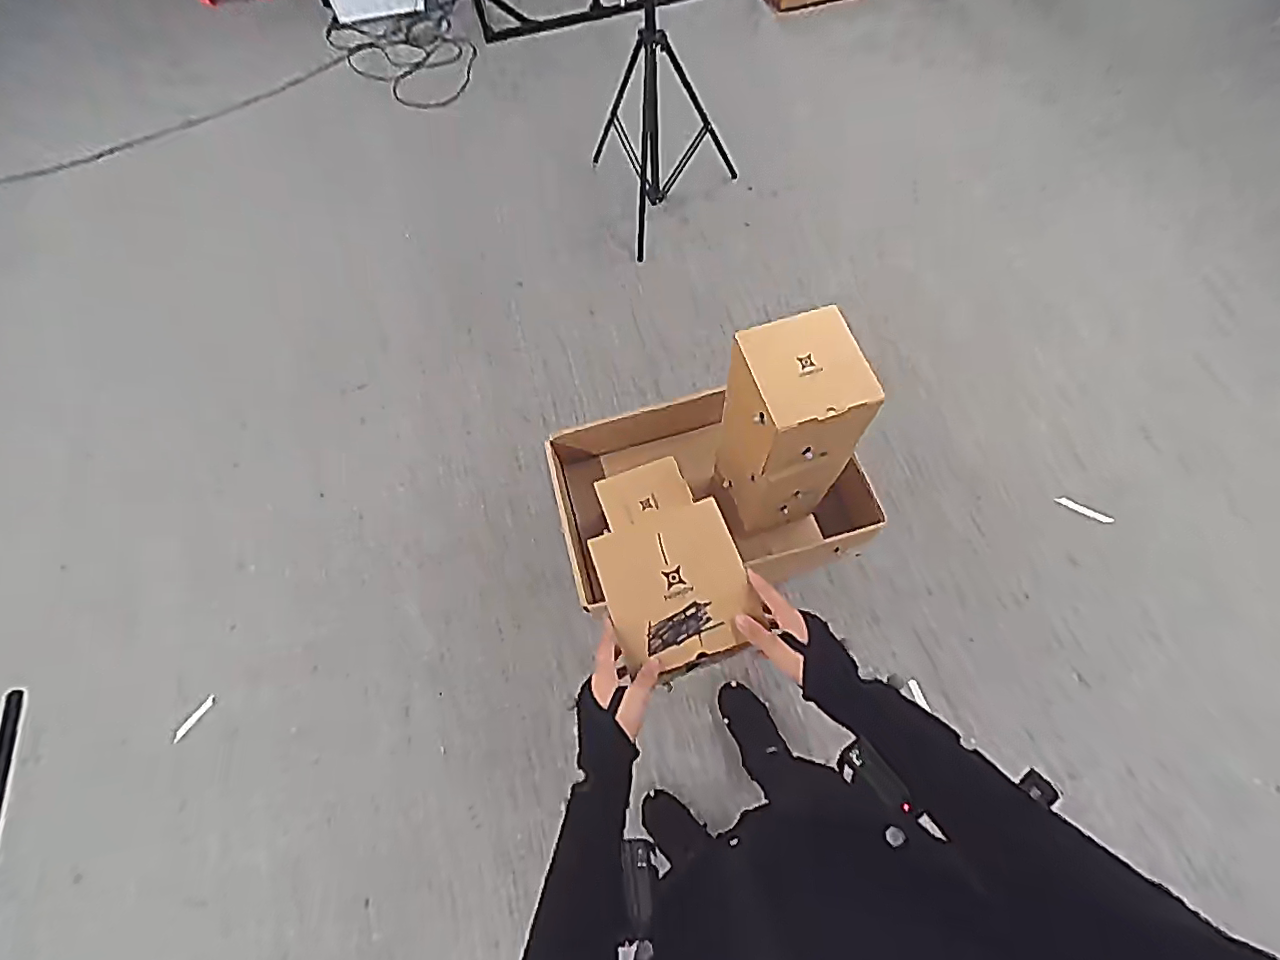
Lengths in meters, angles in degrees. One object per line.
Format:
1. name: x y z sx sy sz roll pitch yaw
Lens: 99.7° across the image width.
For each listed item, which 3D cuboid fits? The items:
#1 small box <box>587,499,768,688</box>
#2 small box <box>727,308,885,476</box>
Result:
1. small box: 0.046 0.153 0.692 0.168 0.176 0.179 -19 67 -3
2. small box: 0.244 -0.132 0.851 0.168 0.176 0.179 -17 67 -3
